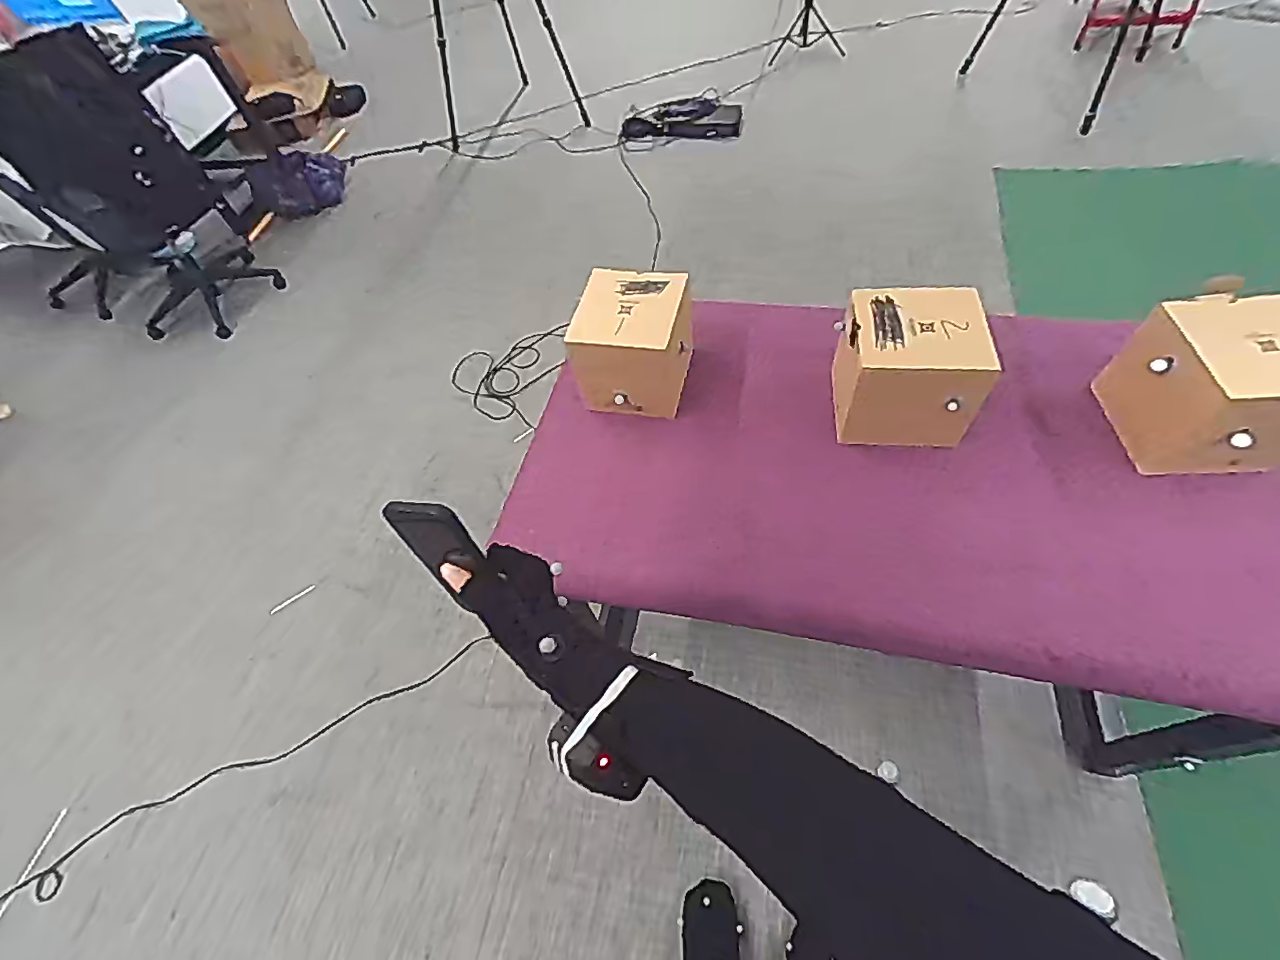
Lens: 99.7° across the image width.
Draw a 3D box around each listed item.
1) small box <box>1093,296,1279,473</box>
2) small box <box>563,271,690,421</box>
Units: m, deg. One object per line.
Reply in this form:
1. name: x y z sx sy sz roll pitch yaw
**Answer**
1. small box: 0.775 -0.120 0.731 0.168 0.176 0.179 -2 56 8
2. small box: -0.011 -0.226 0.916 0.168 0.176 0.179 8 60 14
